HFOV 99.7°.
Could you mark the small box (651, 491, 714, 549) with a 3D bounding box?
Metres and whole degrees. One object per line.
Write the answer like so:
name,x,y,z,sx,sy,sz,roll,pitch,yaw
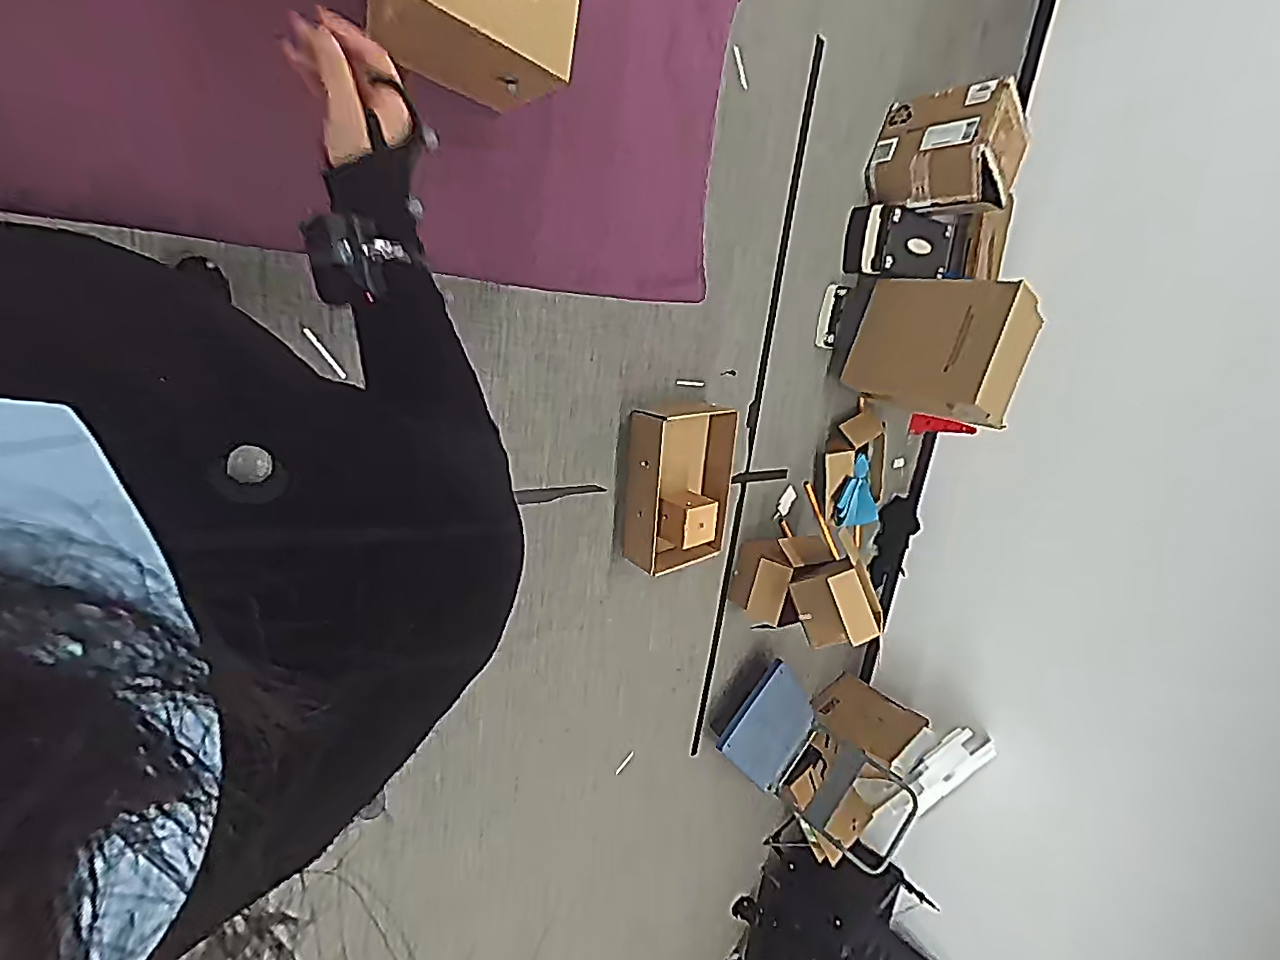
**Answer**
small box,0.167,0.153,2.145,0.179,0.176,0.168,-11,113,-39
